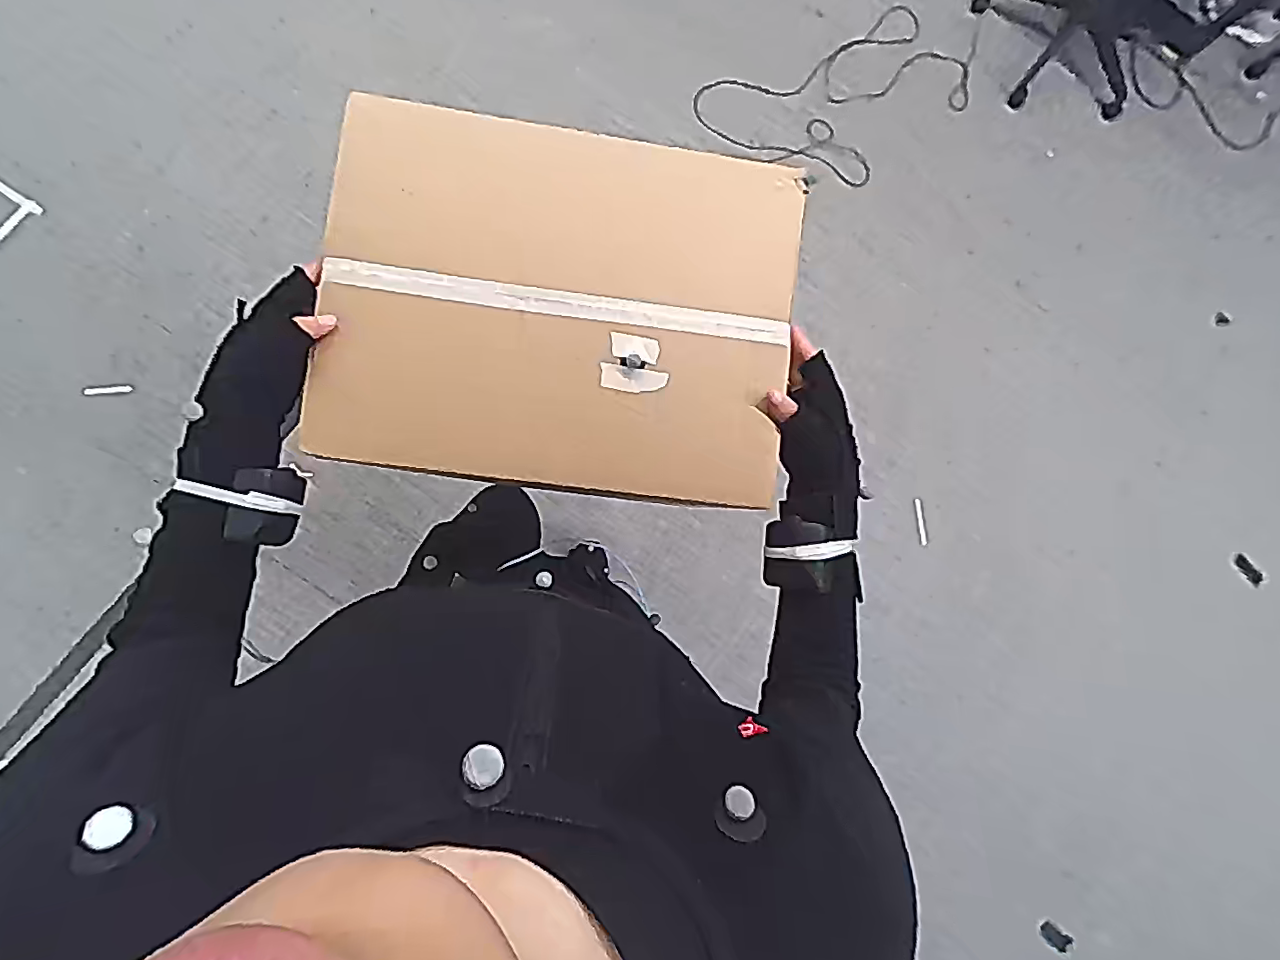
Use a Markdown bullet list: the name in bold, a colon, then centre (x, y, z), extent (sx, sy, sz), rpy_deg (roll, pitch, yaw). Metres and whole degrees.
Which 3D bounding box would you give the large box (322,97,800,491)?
- **large box**: centre (-0.076, -0.160, 0.631), extent (0.408, 0.320, 0.320), rpy_deg (7, 89, -5)
